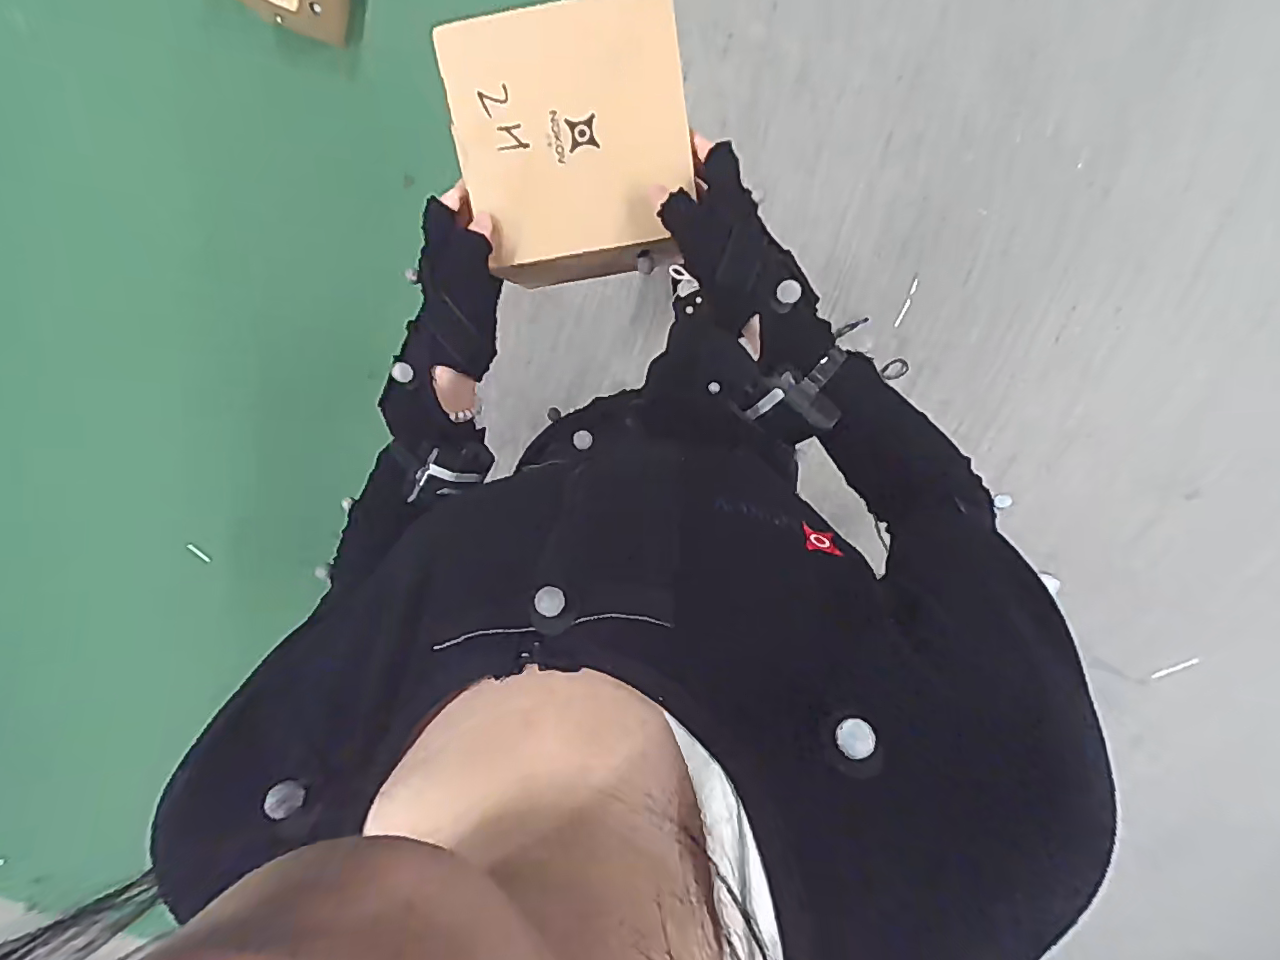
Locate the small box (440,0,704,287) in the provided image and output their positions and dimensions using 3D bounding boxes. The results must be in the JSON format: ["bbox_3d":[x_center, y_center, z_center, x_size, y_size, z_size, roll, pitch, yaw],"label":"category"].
[{"bbox_3d":[-0.048,-0.275,0.480,0.179,0.176,0.168,-9,104,3],"label":"small box"}]
